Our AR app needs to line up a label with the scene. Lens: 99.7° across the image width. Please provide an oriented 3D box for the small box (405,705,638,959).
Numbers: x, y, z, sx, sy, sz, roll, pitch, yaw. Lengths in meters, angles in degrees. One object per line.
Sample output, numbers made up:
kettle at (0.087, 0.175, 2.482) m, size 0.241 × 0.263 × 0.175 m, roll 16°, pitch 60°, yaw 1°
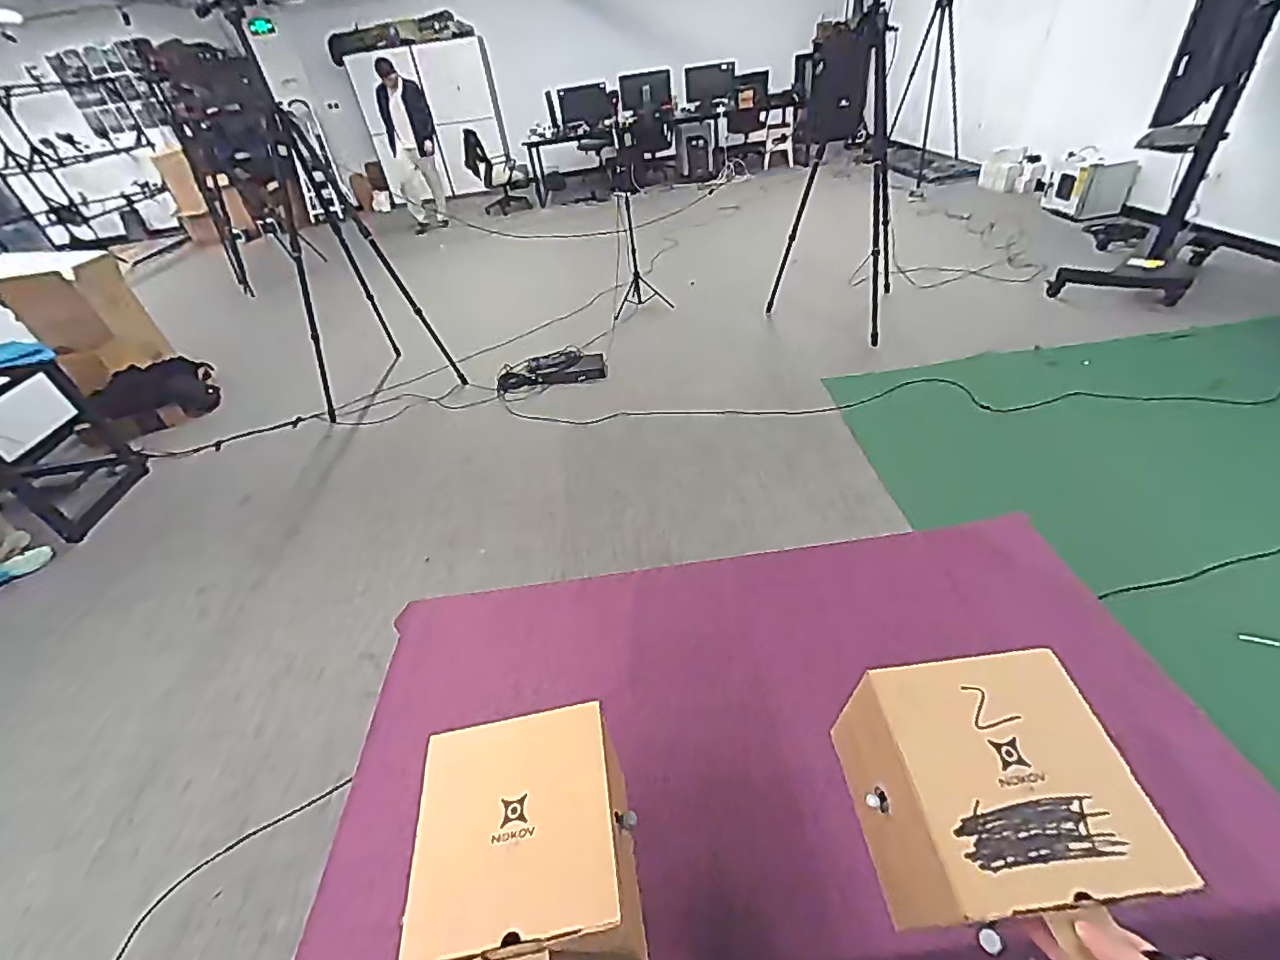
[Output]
small box at (-0.100, 0.352, 0.520) m, size 0.168 × 0.176 × 0.179 m, roll -11°, pitch 41°, yaw -3°
